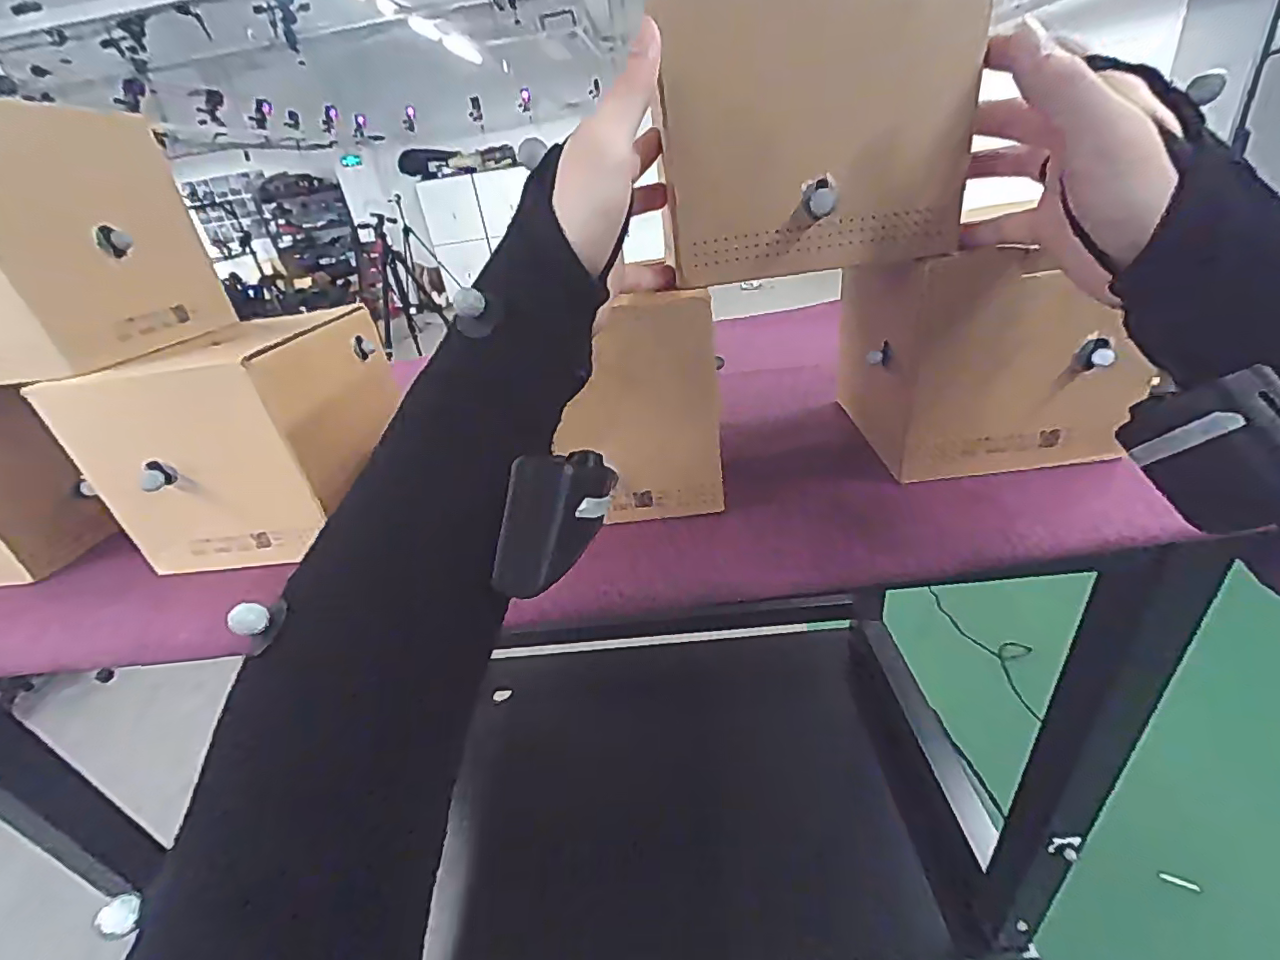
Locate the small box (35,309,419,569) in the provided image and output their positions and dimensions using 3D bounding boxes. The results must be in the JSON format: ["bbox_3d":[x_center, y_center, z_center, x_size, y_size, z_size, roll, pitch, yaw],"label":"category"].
[{"bbox_3d":[-0.322,-0.035,0.473,0.168,0.176,0.179,-7,28,6],"label":"small box"}]

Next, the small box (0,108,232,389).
[{"bbox_3d":[-0.474,-0.170,0.413,0.179,0.176,0.168,-5,28,6],"label":"small box"}]

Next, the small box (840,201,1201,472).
[{"bbox_3d":[0.270,-0.115,0.440,0.168,0.176,0.179,-6,30,6],"label":"small box"}]

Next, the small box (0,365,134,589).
[{"bbox_3d":[-0.602,-0.010,0.500,0.179,0.176,0.168,-5,29,5],"label":"small box"}]

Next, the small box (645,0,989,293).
[{"bbox_3d":[0.098,-0.237,0.369,0.179,0.176,0.168,-7,30,4],"label":"small box"}]
